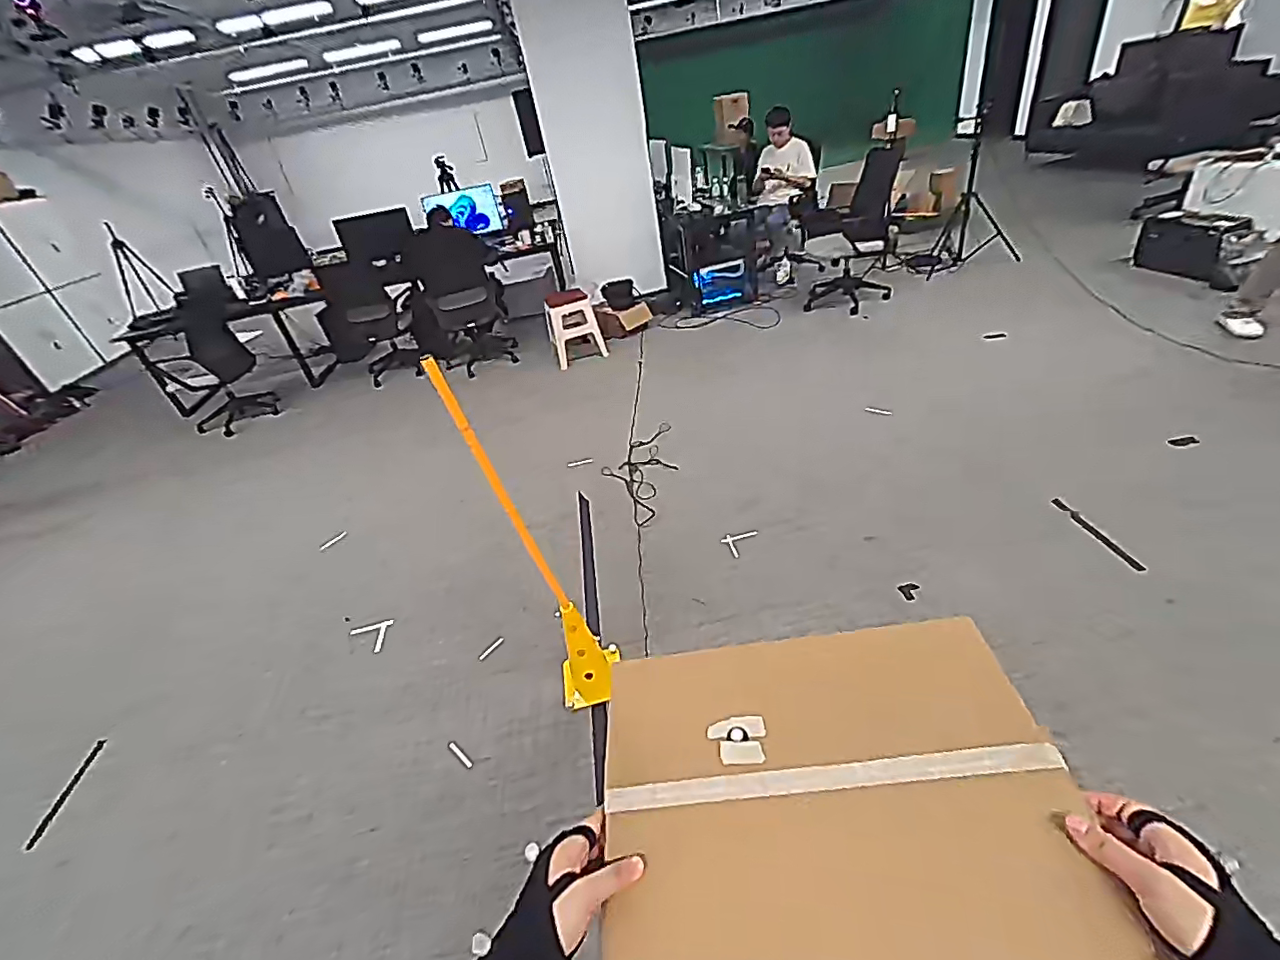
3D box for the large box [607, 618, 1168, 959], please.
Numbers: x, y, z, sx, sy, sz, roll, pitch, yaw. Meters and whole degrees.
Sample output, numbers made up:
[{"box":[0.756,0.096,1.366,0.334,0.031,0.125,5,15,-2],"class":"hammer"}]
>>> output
[{"box":[0.202,0.398,0.591,0.408,0.320,0.320,-12,35,8],"class":"large box"}]
